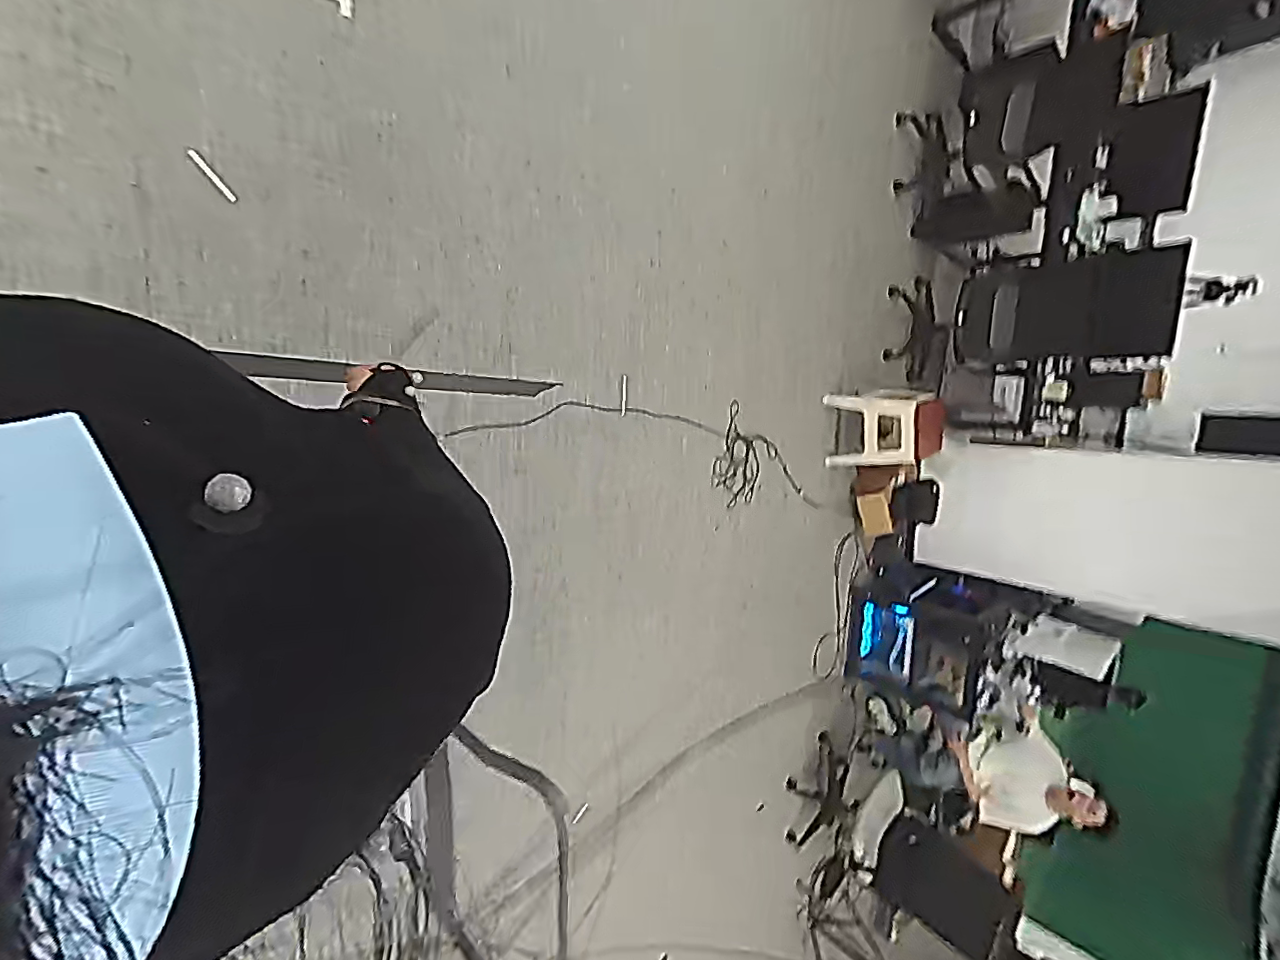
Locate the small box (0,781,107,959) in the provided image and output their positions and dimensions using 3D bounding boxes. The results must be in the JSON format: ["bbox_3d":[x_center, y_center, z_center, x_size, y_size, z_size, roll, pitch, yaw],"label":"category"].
[{"bbox_3d":[-0.996,0.643,0.890,0.168,0.176,0.179,-1,97,-44],"label":"small box"}]
